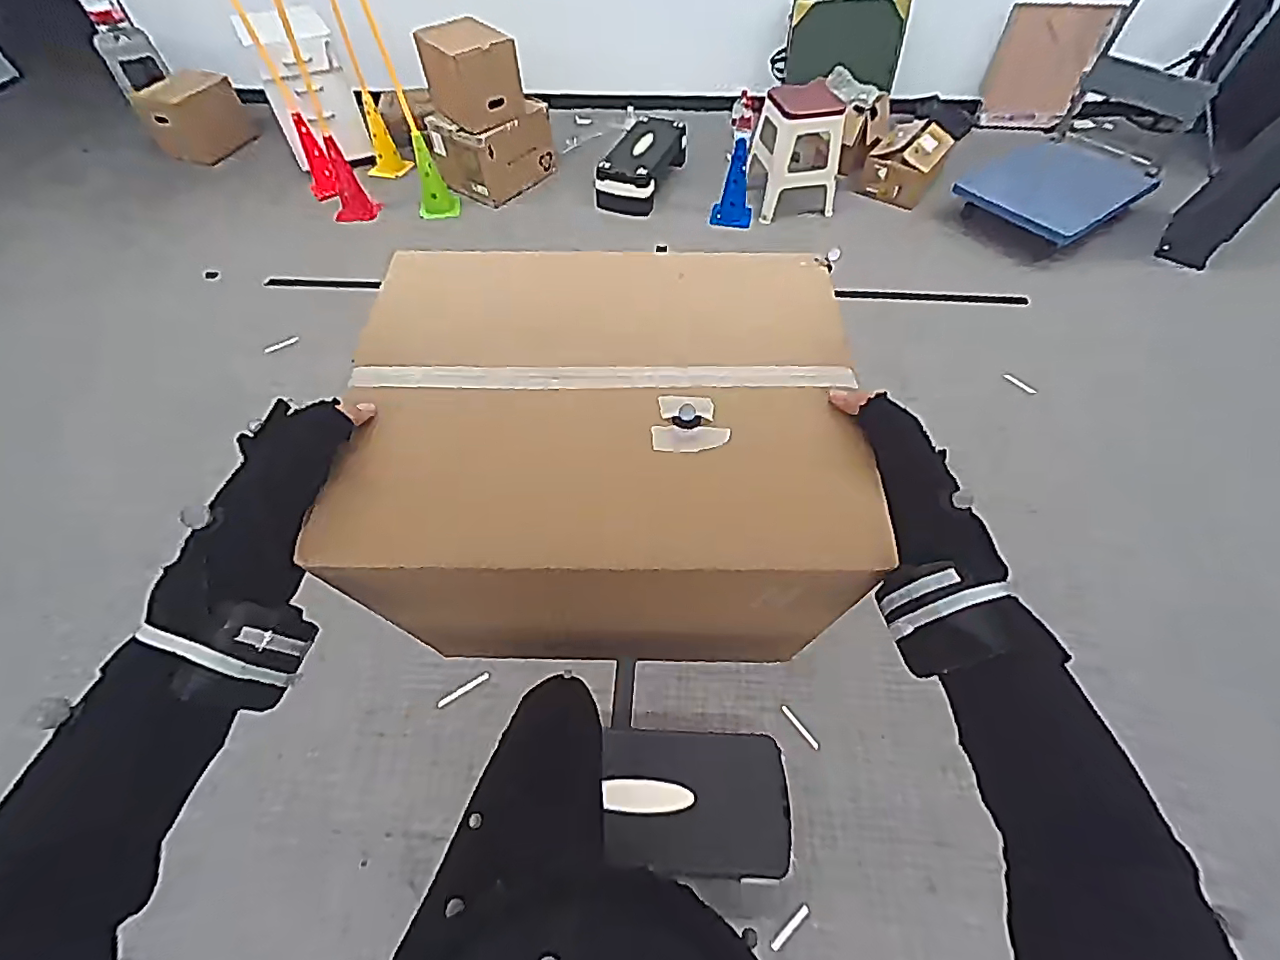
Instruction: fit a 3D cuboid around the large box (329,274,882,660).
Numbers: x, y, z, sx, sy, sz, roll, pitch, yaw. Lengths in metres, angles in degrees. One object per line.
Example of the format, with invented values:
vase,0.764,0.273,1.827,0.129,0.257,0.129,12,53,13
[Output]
large box,-0.025,0.003,0.585,0.408,0.320,0.320,1,60,0
